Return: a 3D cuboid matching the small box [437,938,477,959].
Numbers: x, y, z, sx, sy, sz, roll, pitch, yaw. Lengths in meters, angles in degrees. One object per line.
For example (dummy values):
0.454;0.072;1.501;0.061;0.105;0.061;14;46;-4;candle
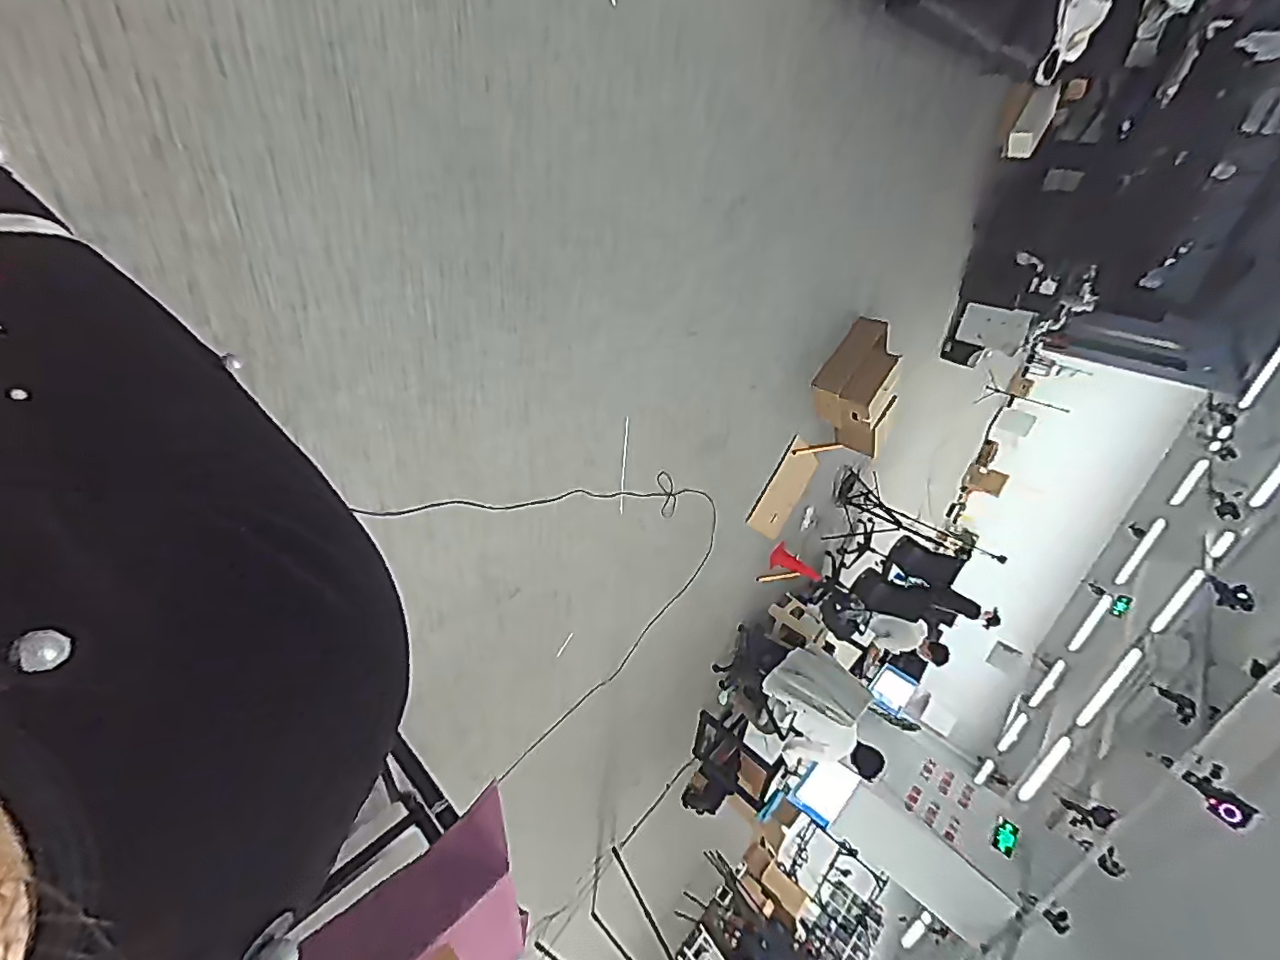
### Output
-0.482;1.329;1.371;0.179;0.176;0.168;-25;131;-40;small box
